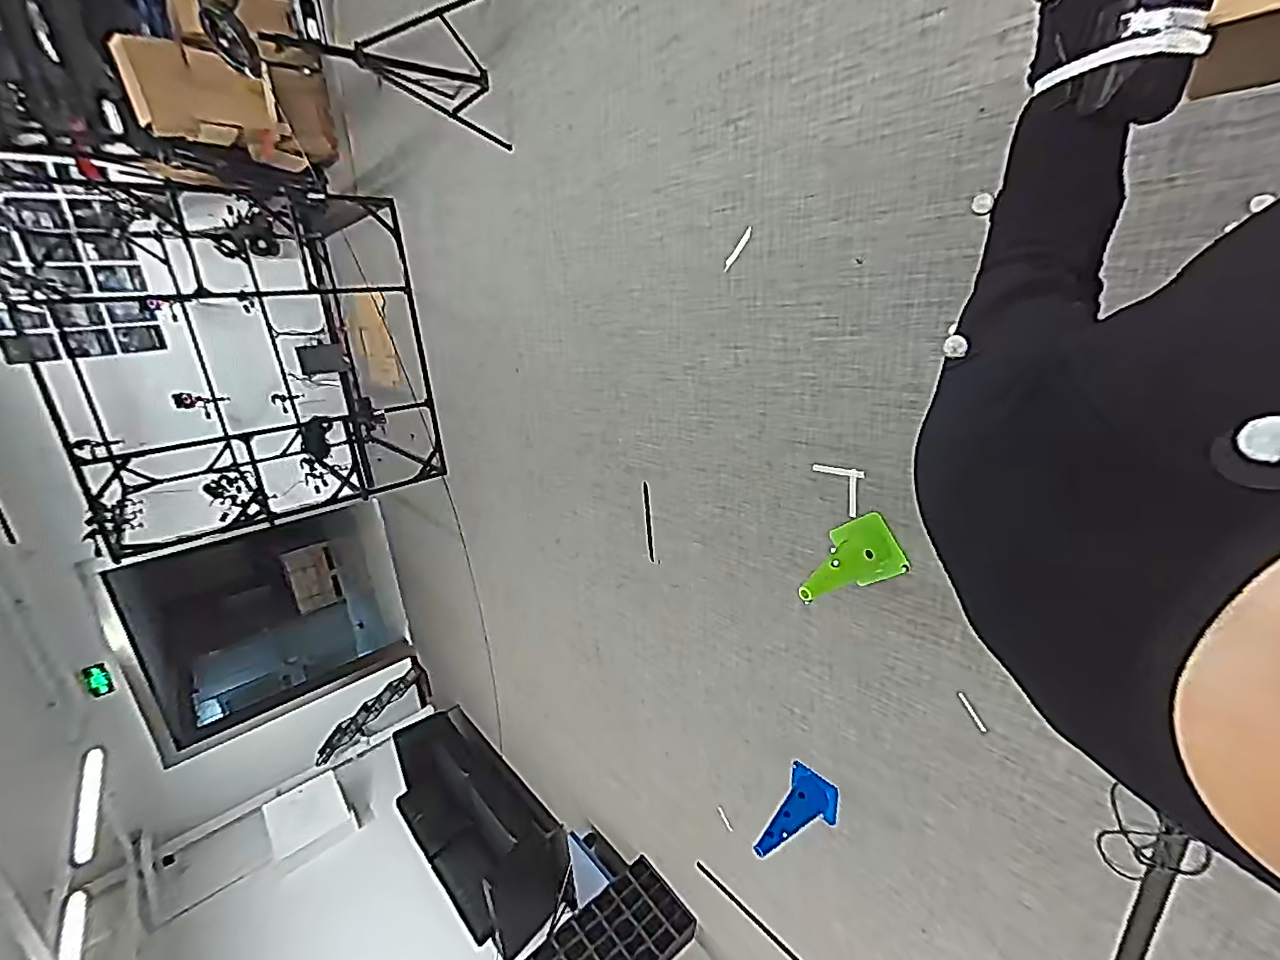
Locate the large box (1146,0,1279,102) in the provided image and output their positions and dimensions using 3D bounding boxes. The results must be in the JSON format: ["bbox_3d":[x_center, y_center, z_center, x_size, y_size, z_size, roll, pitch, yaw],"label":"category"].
[{"bbox_3d":[0.564,-0.443,0.268,0.408,0.320,0.320,16,120,44],"label":"large box"}]

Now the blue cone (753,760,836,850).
[{"bbox_3d":[0.572,1.282,2.066,0.192,0.380,0.193,22,121,46],"label":"blue cone"}]

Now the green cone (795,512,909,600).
[{"bbox_3d":[0.582,0.258,1.584,0.202,0.368,0.200,-42,71,52],"label":"green cone"}]
